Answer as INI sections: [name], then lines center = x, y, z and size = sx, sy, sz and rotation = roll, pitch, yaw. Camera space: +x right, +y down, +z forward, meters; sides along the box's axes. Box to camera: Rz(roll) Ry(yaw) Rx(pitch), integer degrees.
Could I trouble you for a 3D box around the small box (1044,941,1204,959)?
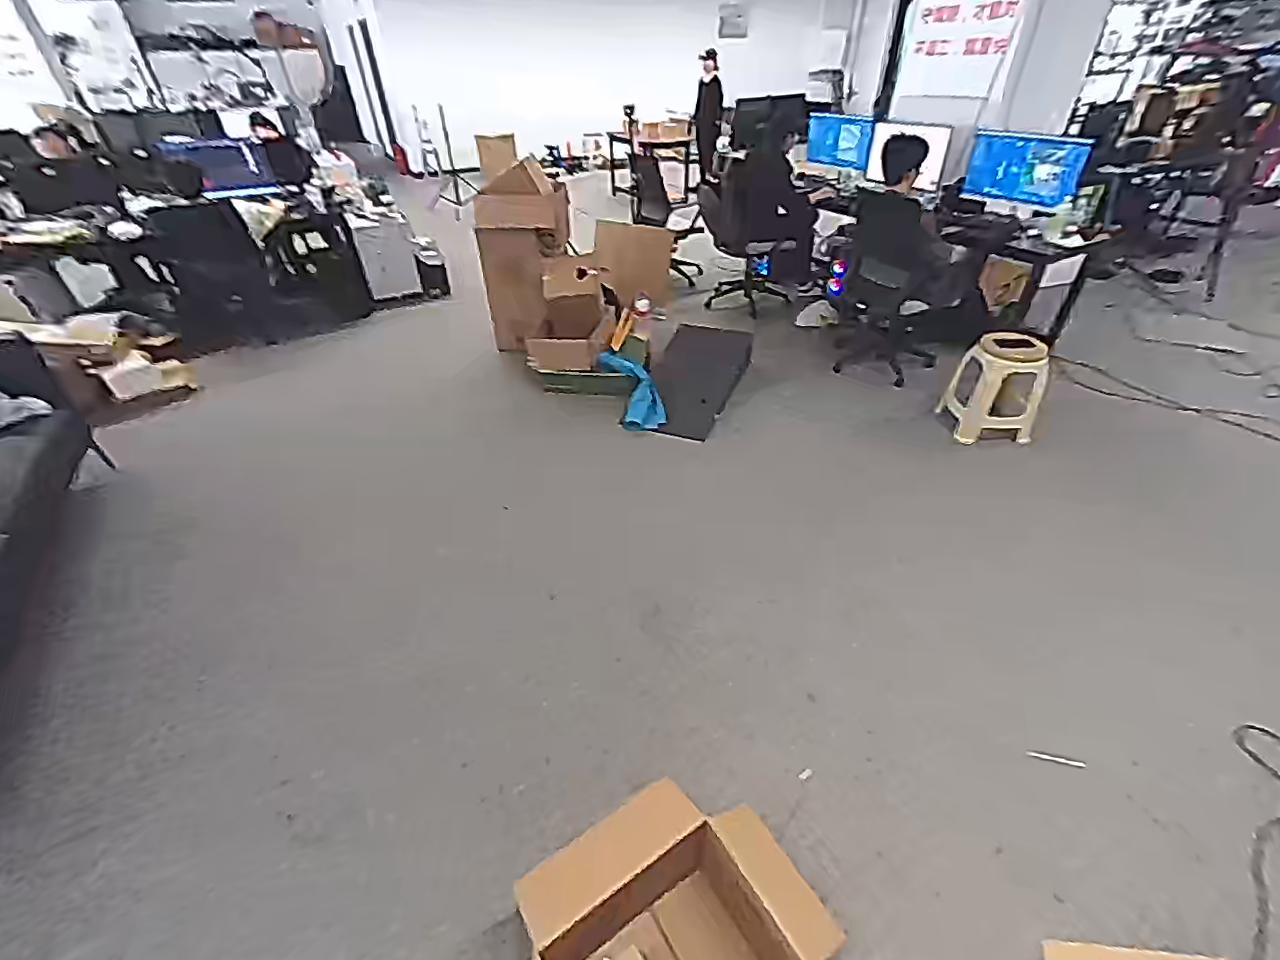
[small box]
center = 0.573, 0.624, 0.587
size = 0.168, 0.179, 0.176
rotation = -22, 40, 32
